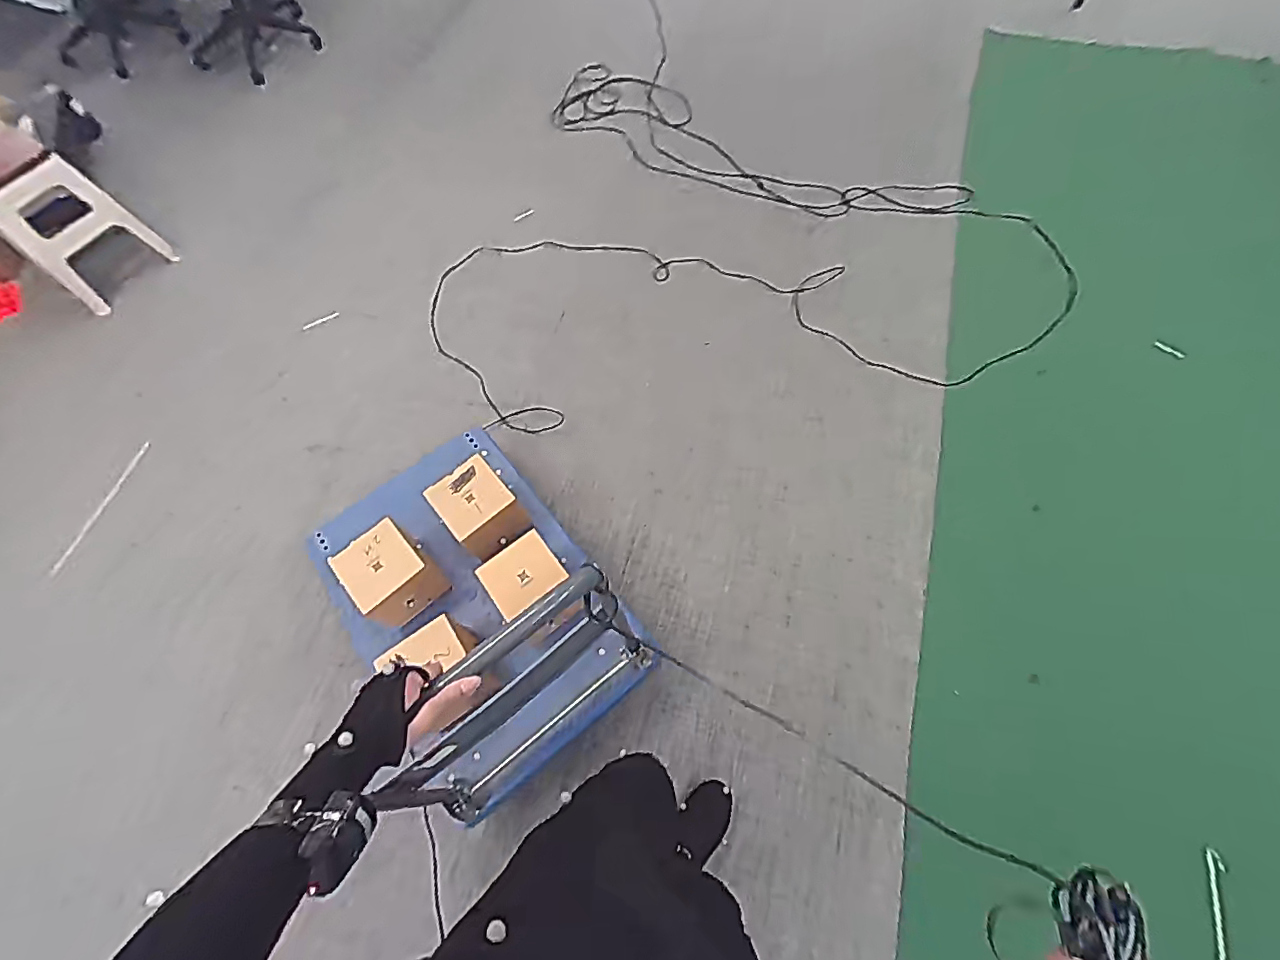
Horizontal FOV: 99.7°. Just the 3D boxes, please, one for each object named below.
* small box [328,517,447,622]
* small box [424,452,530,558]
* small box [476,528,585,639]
[{"bbox_3d":[-0.601,0.225,1.311,0.168,0.176,0.179,-40,68,-15],"label":"small box"},{"bbox_3d":[-0.407,0.069,1.372,0.168,0.176,0.179,-39,68,-13],"label":"small box"},{"bbox_3d":[-0.251,0.249,1.272,0.168,0.176,0.179,-36,67,-12],"label":"small box"}]
